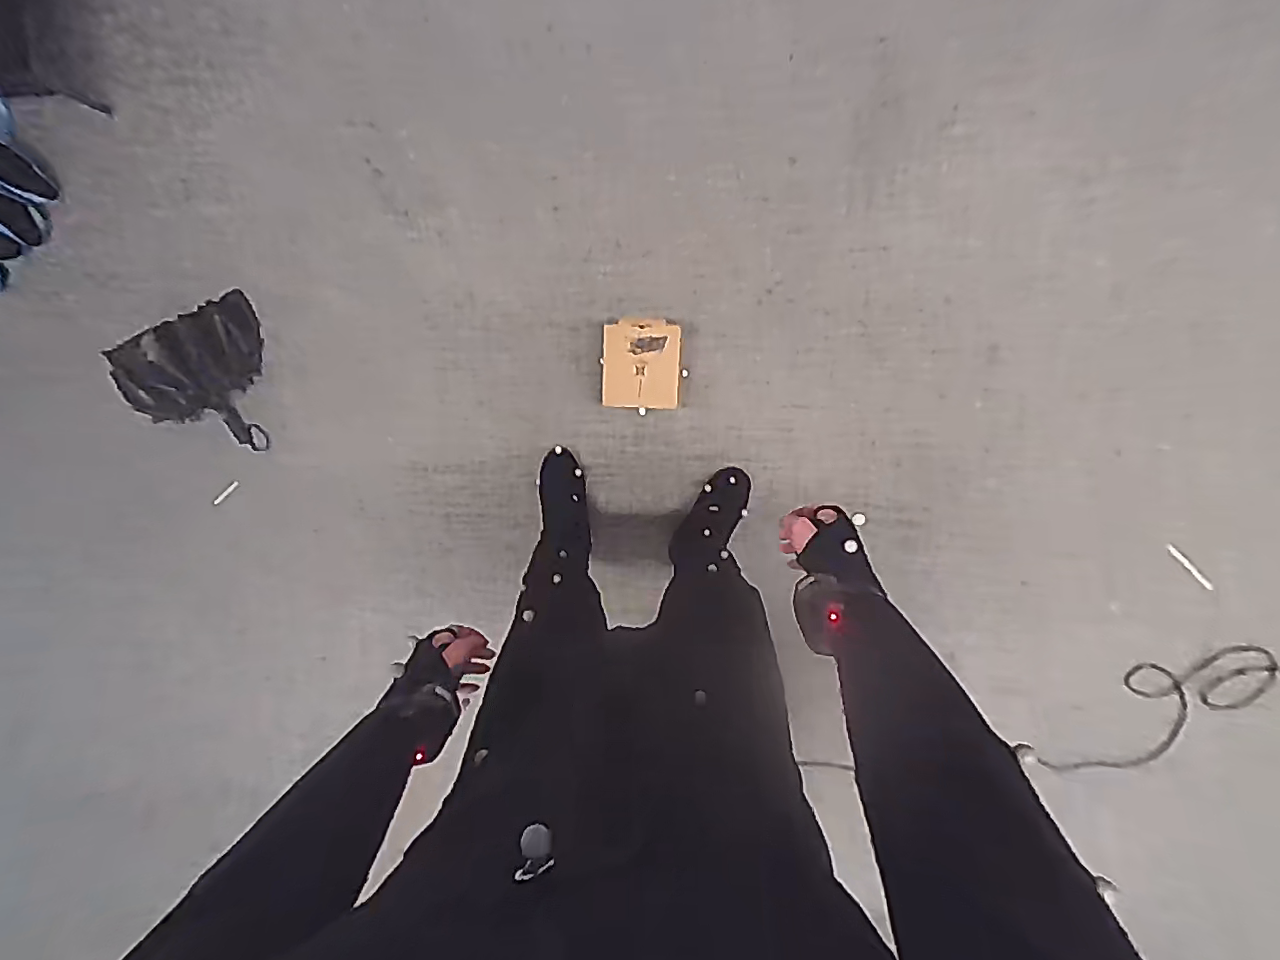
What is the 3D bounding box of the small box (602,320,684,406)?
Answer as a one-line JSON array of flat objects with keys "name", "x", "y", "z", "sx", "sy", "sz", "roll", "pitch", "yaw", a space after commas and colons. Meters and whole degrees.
[{"name": "small box", "x": 0.011, "y": -0.261, "z": 1.229, "sx": 0.168, "sy": 0.176, "sz": 0.179, "roll": 3, "pitch": 99, "yaw": 7}]
